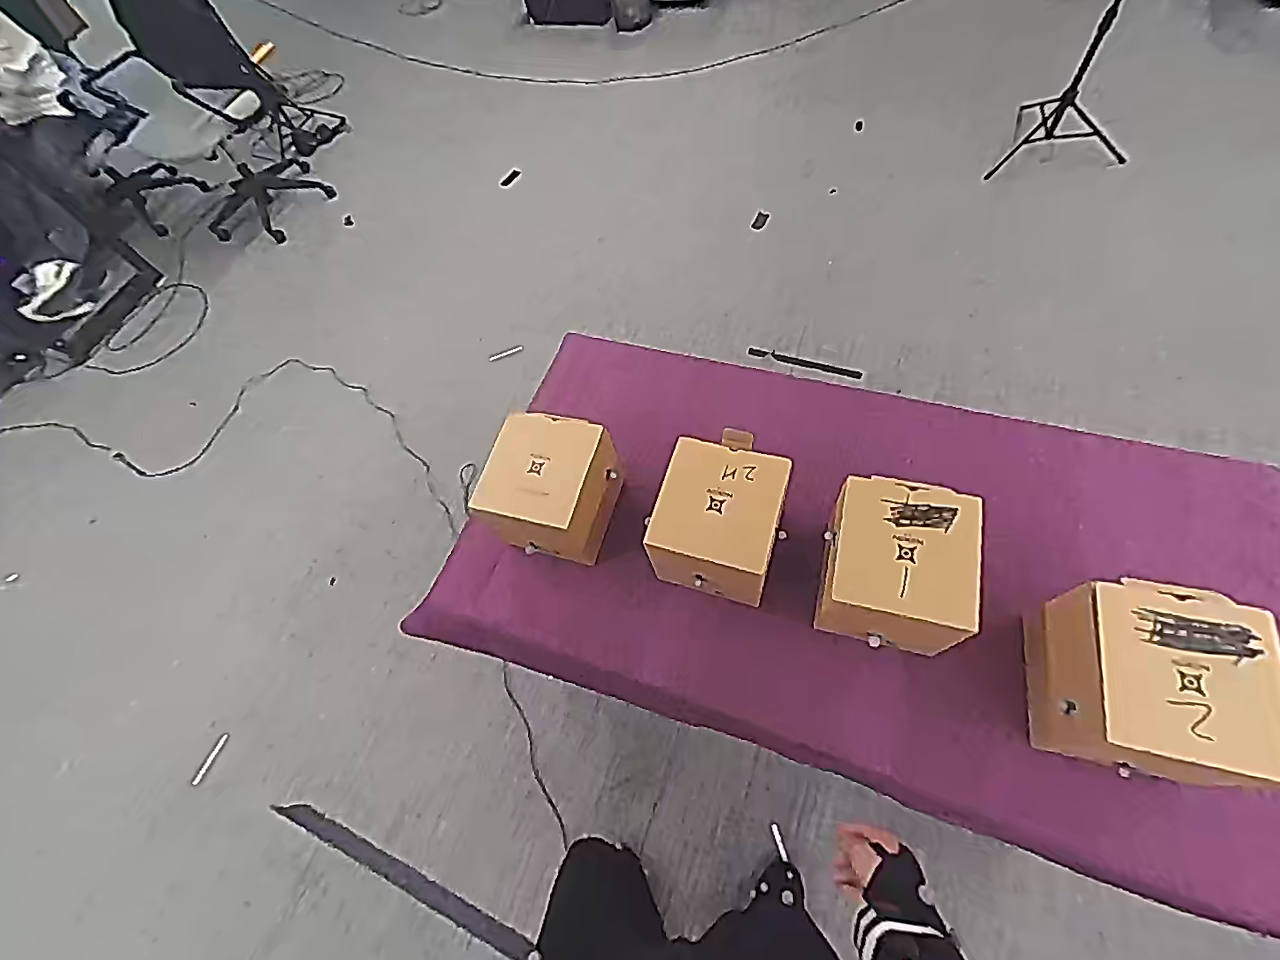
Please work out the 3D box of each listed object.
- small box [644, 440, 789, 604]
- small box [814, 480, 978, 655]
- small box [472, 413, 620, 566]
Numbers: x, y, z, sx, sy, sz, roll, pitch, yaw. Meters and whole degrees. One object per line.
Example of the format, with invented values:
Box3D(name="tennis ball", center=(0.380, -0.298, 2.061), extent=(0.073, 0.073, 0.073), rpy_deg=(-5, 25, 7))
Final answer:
Box3D(name="small box", center=(0.120, 0.070, 0.819), extent=(0.168, 0.176, 0.179), rpy_deg=(14, 66, 16))
Box3D(name="small box", center=(0.345, 0.126, 0.752), extent=(0.168, 0.176, 0.179), rpy_deg=(11, 65, 15))
Box3D(name="small box", center=(-0.140, 0.018, 0.890), extent=(0.168, 0.176, 0.179), rpy_deg=(12, 65, 16))
